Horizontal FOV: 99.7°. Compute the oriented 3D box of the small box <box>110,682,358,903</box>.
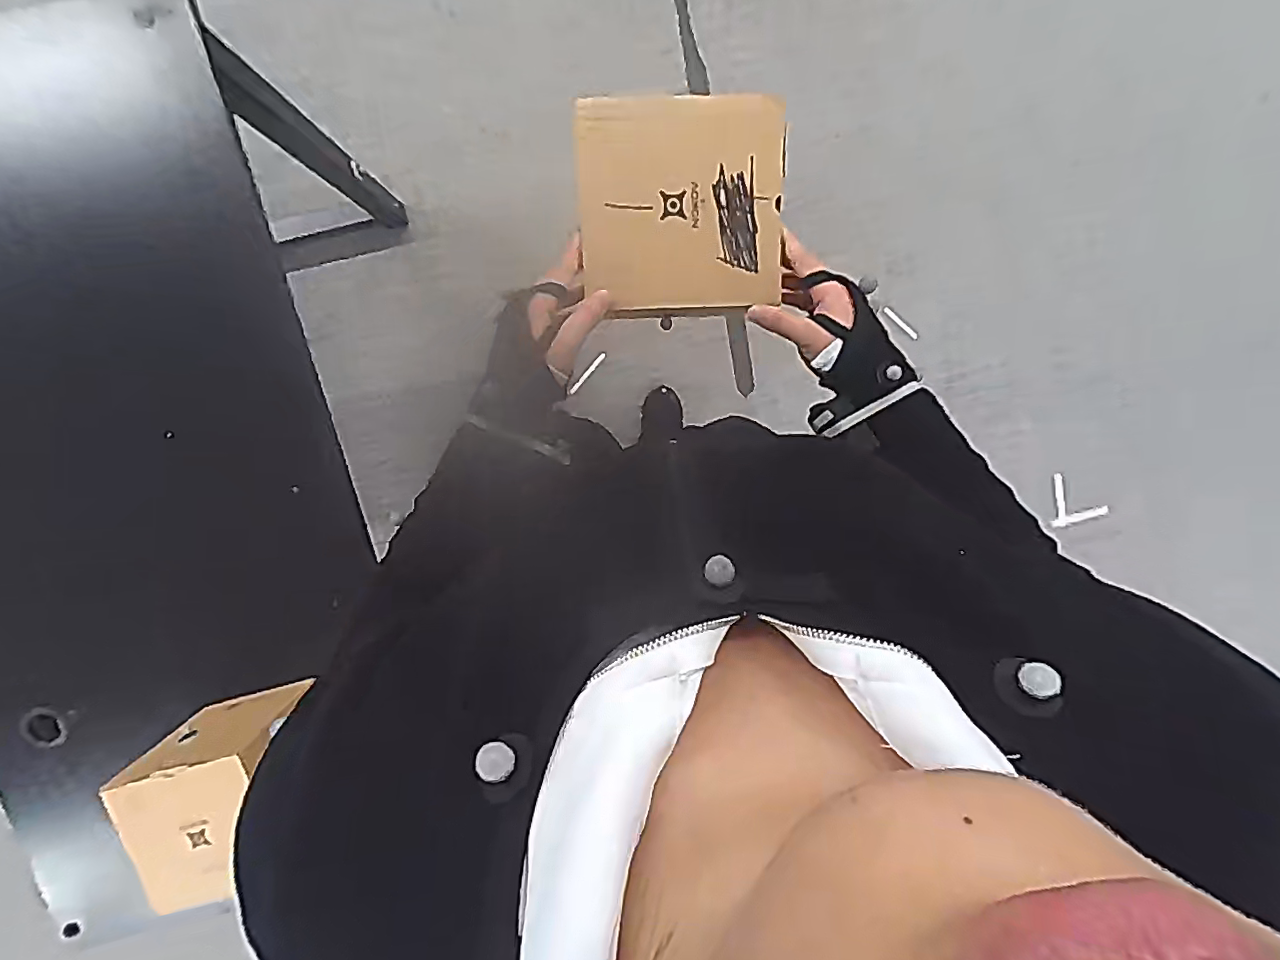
[{"bbox_3d":[-0.510,0.391,0.711,0.168,0.176,0.179,-15,100,1],"label":"small box"}]

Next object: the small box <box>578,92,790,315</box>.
[{"bbox_3d":[0.032,-0.253,0.532,0.179,0.176,0.168,-2,105,-2],"label":"small box"}]
